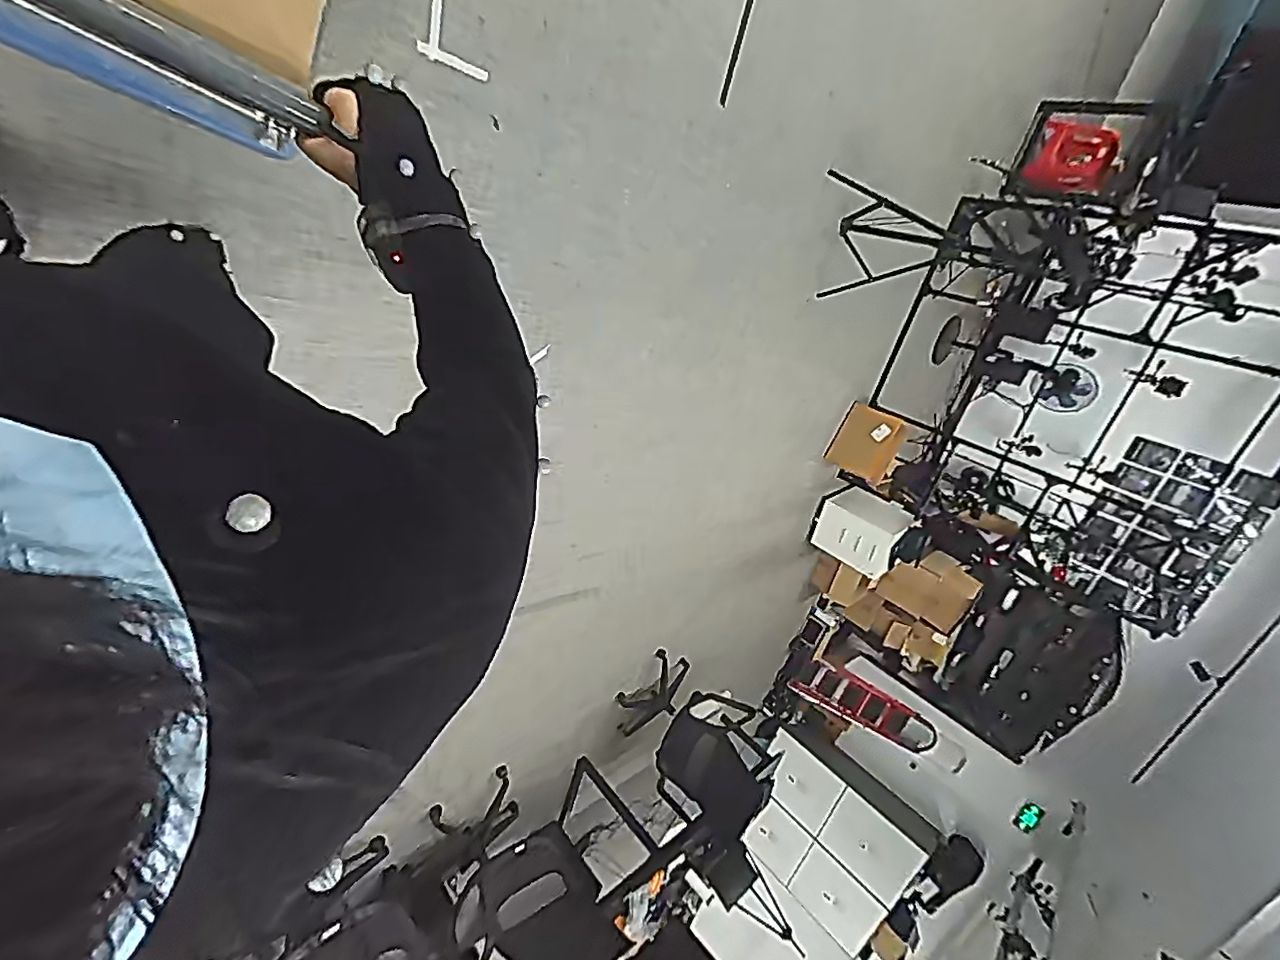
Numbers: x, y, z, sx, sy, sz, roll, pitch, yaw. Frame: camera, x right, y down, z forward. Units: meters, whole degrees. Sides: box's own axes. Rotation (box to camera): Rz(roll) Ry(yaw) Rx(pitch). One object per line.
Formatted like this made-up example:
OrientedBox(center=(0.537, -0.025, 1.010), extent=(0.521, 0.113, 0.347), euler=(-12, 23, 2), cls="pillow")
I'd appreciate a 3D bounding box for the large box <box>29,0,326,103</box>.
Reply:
OrientedBox(center=(-0.633, -0.717, 0.633), extent=(0.408, 0.320, 0.320), euler=(4, 111, -51), cls="large box")
